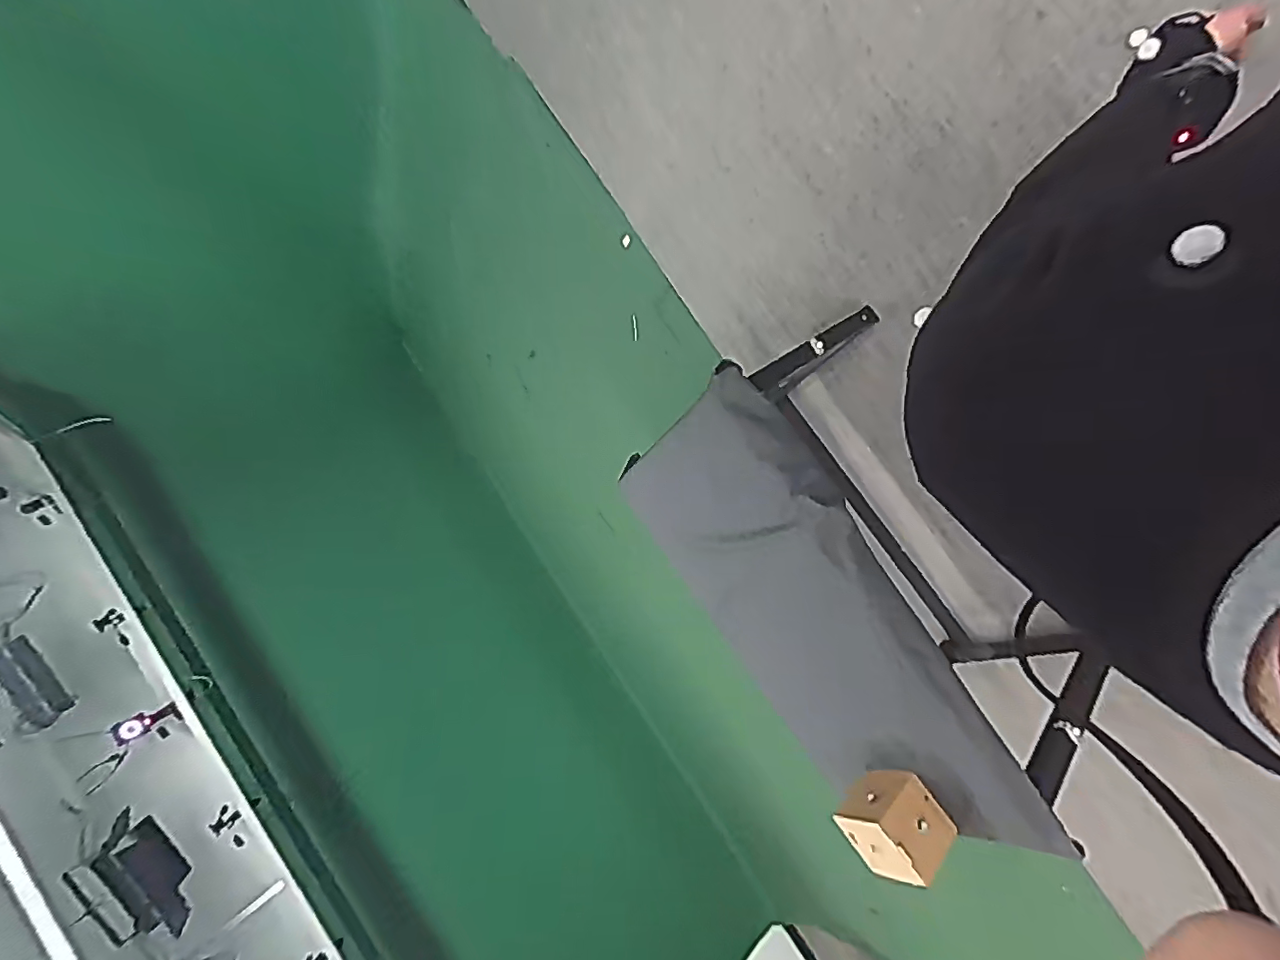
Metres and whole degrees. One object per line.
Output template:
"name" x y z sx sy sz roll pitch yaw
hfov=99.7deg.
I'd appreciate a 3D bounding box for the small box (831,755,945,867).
"small box" 0.628 0.817 1.355 0.168 0.176 0.179 53 149 8
